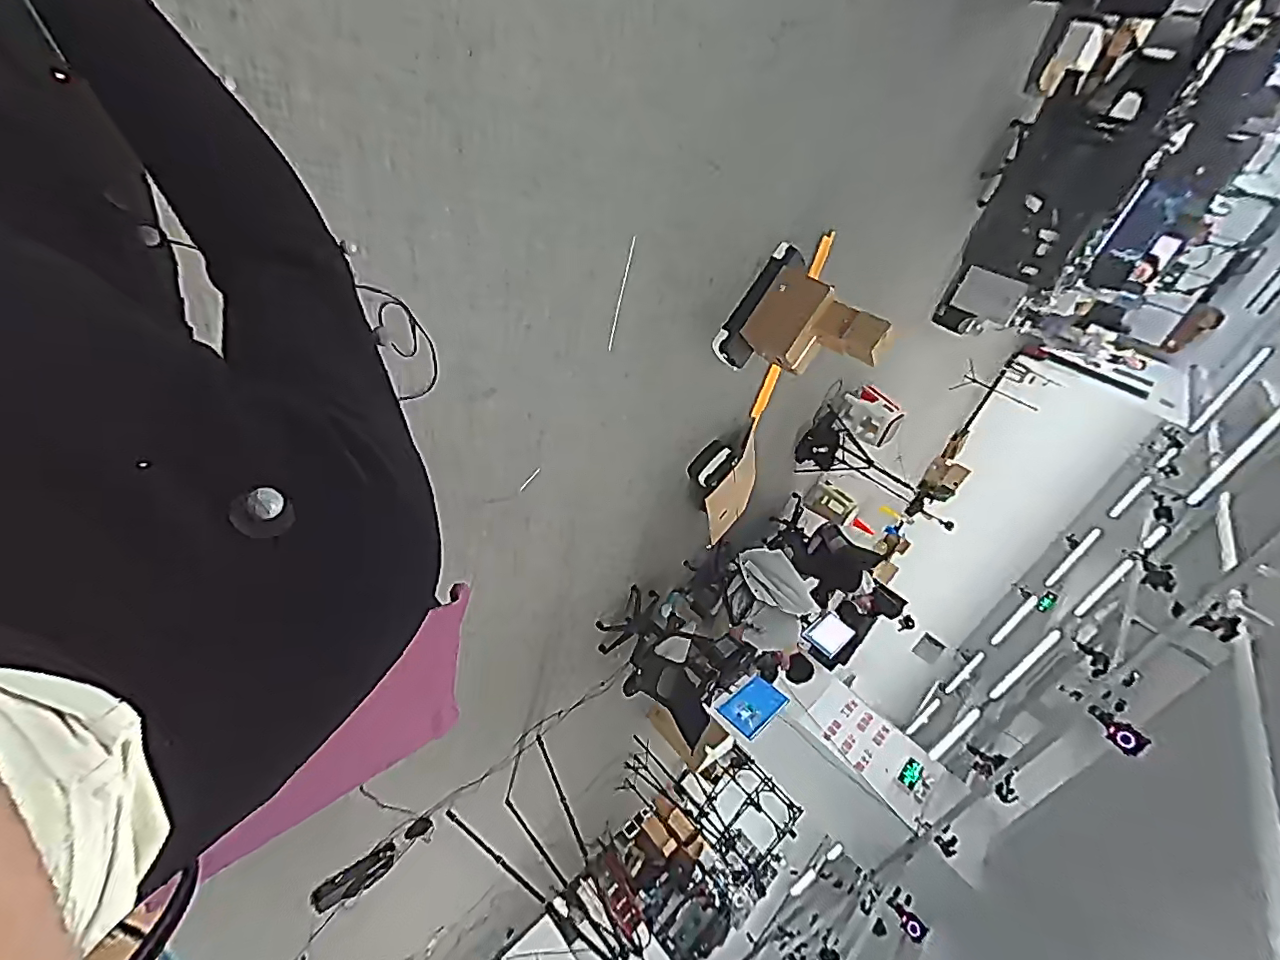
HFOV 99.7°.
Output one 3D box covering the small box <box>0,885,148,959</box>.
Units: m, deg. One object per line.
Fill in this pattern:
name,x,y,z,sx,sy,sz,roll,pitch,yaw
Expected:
small box,-1.157,0.957,1.078,0.168,0.176,0.179,-44,150,-13
